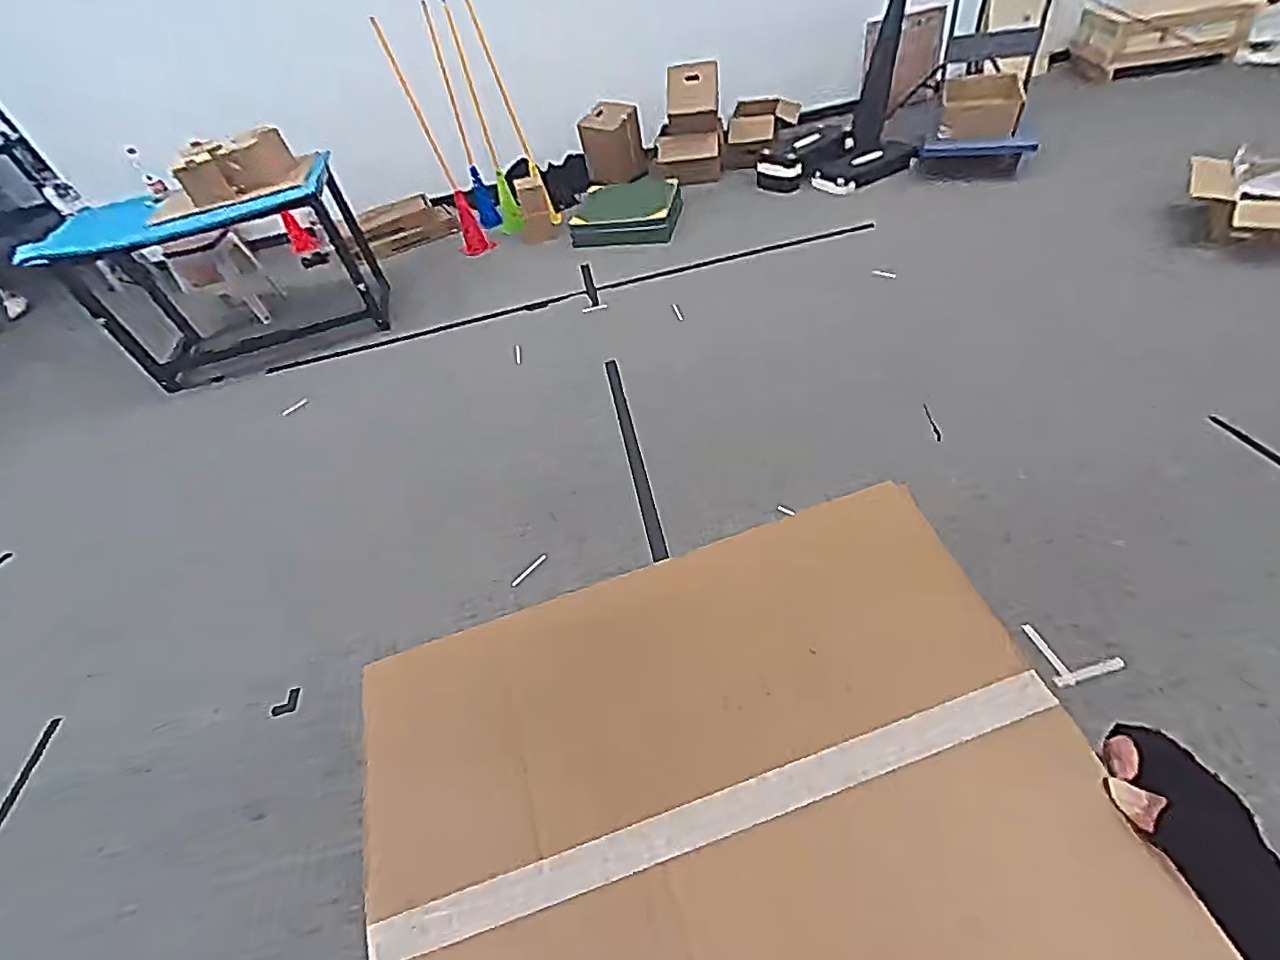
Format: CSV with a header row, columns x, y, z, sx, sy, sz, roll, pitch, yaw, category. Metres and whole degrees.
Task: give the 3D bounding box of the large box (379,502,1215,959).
x,y,z,sx,sy,sz,roll,pitch,yaw,category
0.071,0.277,0.435,0.408,0.320,0.320,-20,56,-3,large box
